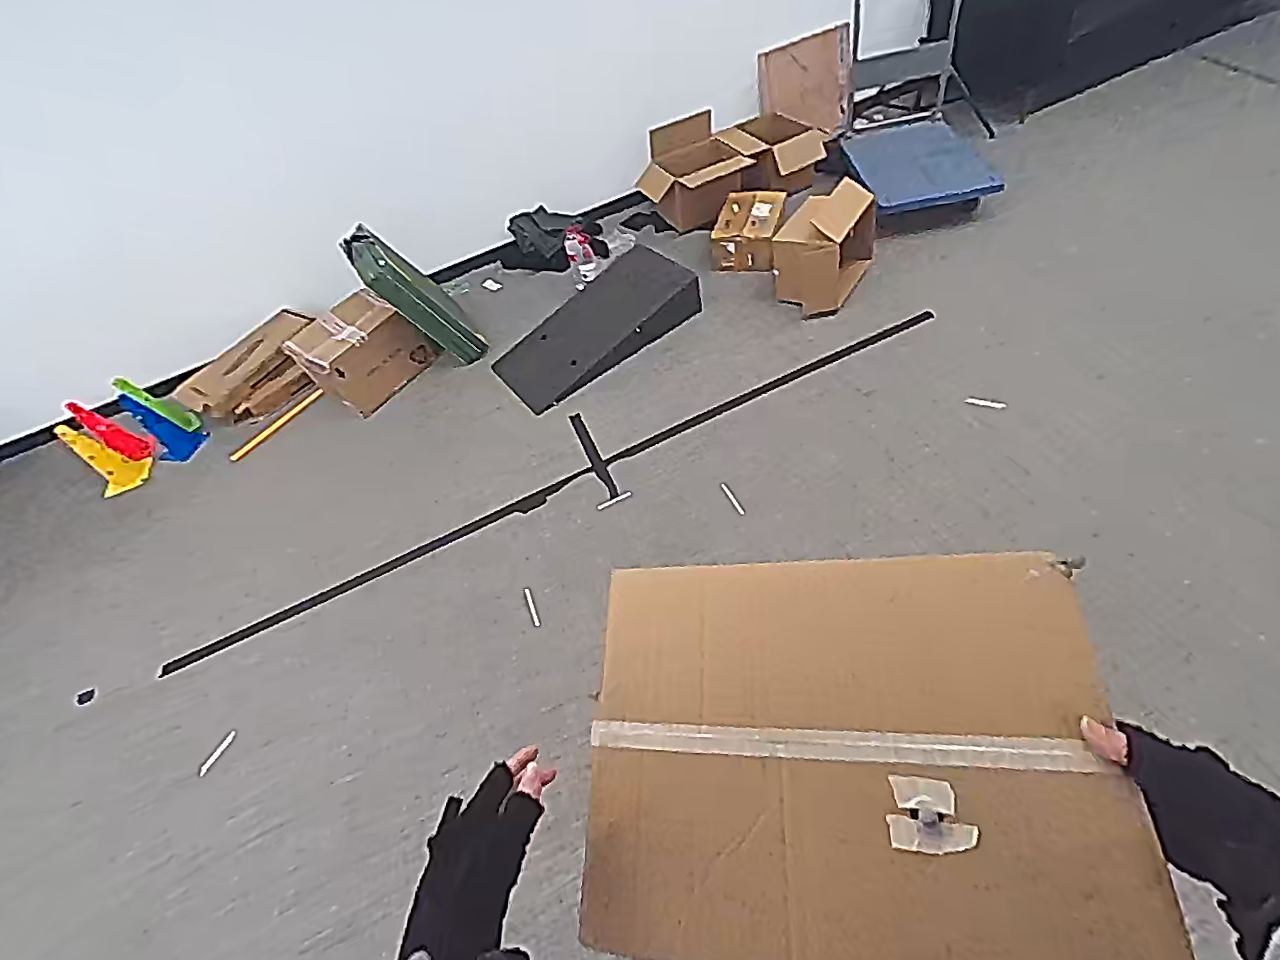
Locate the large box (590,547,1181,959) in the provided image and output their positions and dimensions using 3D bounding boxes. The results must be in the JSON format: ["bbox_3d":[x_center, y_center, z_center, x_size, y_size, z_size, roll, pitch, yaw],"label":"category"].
[{"bbox_3d":[0.194,0.285,0.573,0.408,0.320,0.320,-6,61,16],"label":"large box"}]
